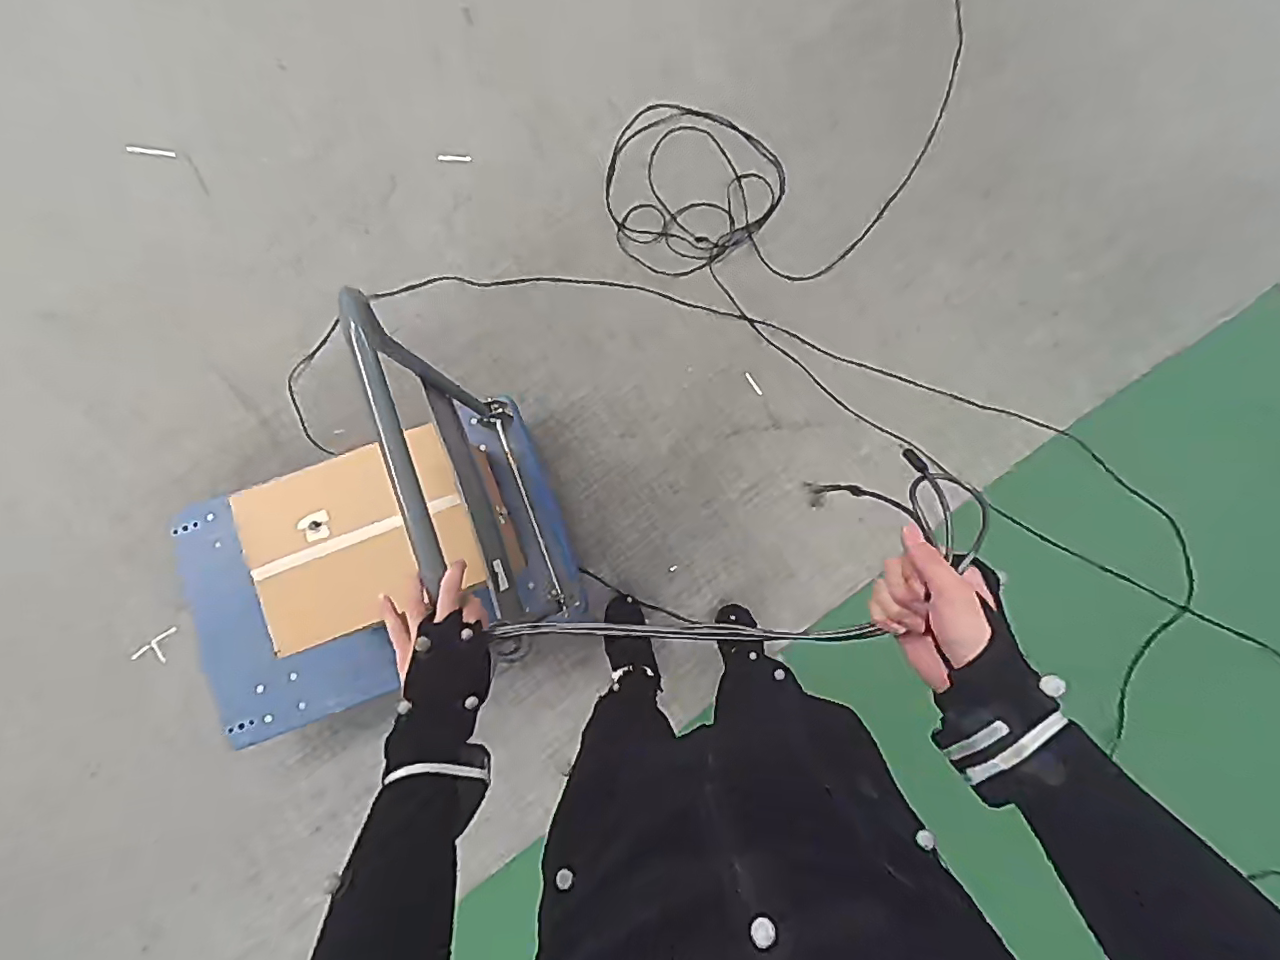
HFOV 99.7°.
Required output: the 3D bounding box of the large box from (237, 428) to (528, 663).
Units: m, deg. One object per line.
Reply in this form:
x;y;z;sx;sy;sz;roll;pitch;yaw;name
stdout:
-0.499;0.129;1.128;0.408;0.320;0.320;-21;83;-2;large box
